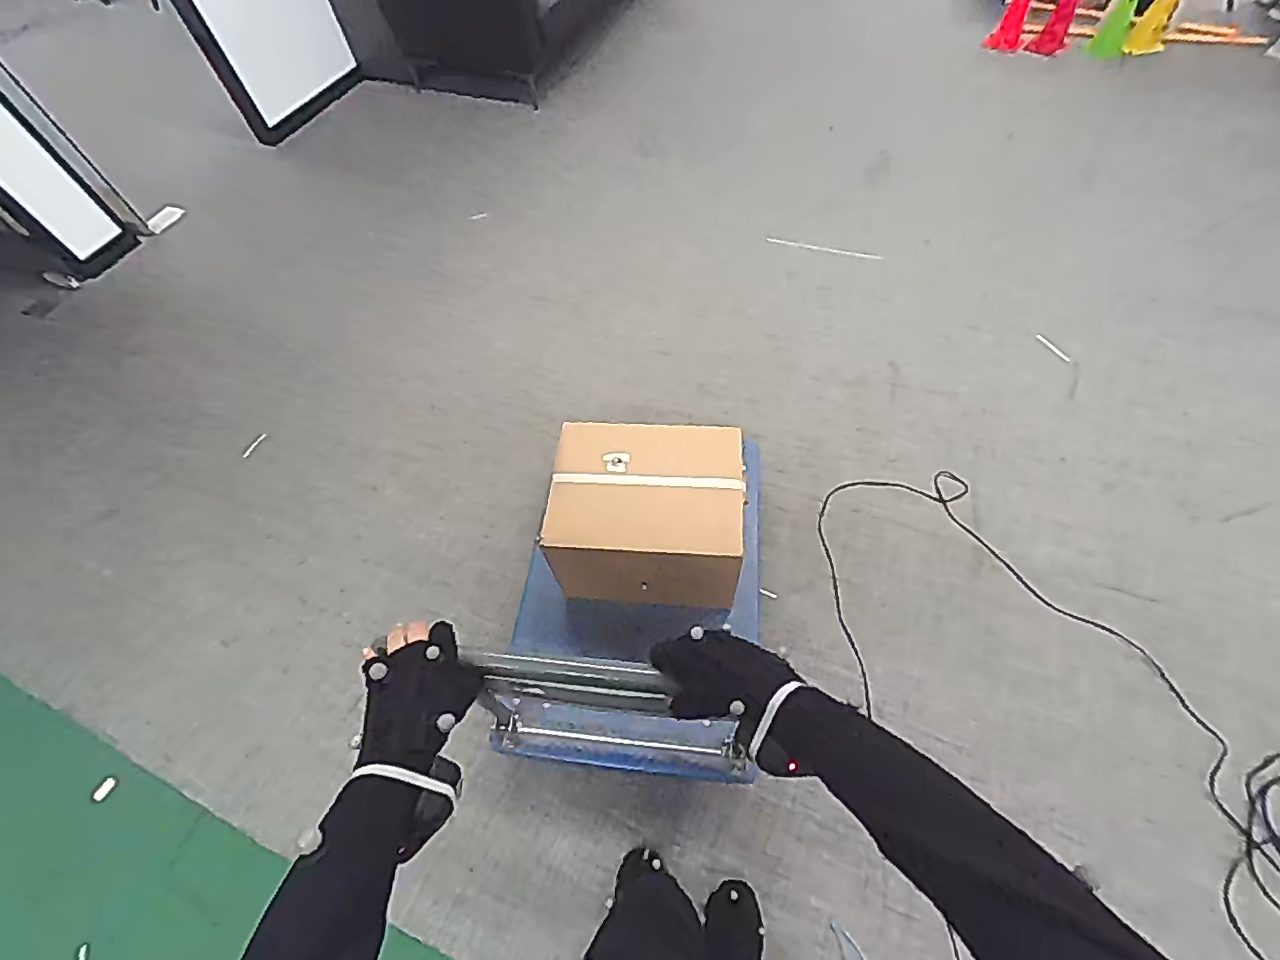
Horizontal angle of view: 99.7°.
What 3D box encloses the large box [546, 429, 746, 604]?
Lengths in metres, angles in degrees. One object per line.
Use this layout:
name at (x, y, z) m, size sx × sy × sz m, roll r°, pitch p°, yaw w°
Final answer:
large box at (0.030, 0.093, 1.267) m, size 0.408 × 0.320 × 0.320 m, roll 1°, pitch 57°, yaw 6°
